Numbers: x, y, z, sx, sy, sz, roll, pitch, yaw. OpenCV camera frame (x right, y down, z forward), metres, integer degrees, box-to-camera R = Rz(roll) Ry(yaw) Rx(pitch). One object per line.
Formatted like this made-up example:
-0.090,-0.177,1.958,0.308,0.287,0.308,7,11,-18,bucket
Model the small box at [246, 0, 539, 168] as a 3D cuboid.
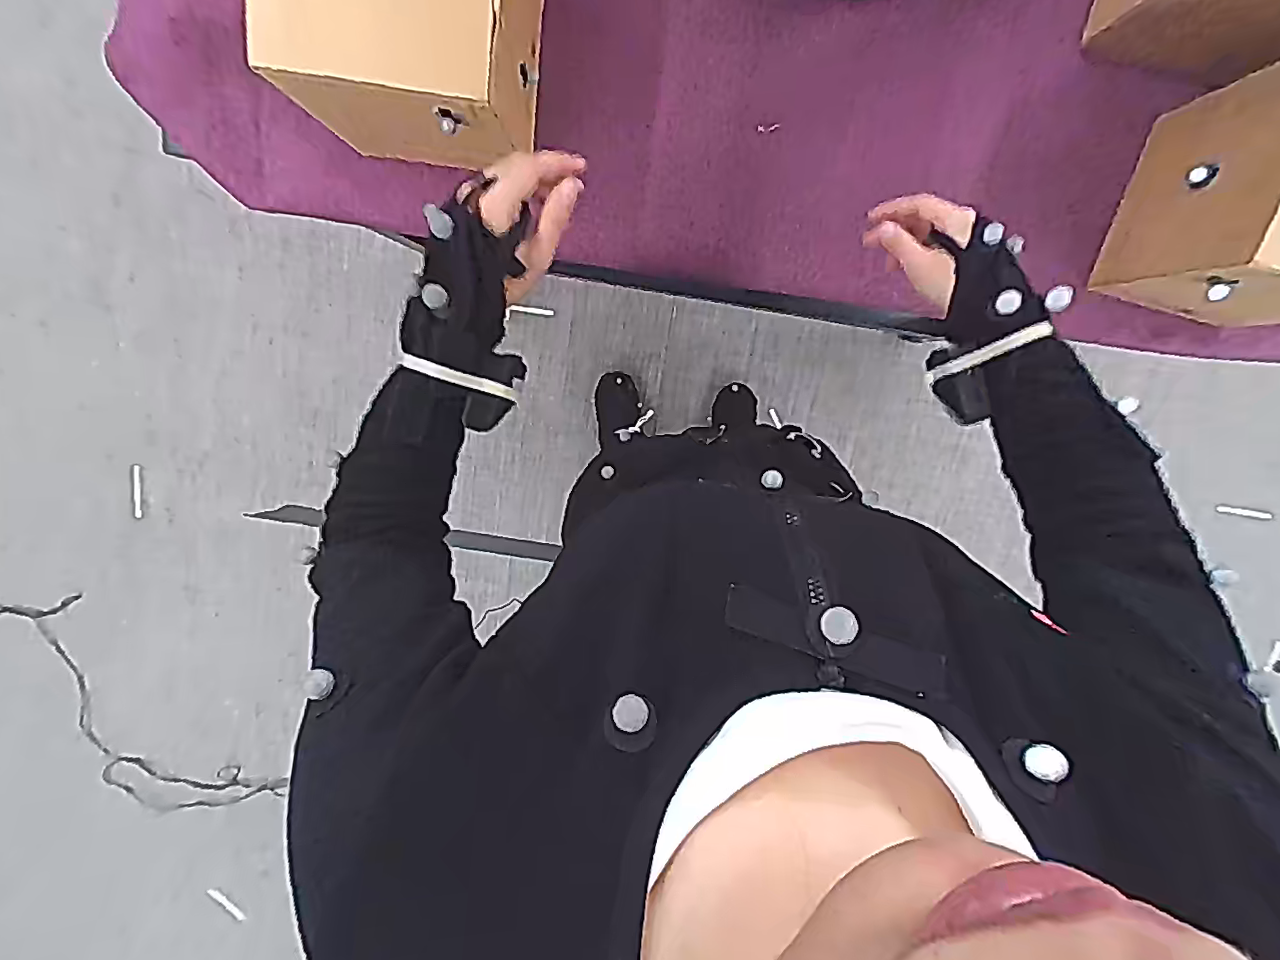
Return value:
-0.190,-0.387,0.456,0.179,0.176,0.168,5,102,-3,small box
